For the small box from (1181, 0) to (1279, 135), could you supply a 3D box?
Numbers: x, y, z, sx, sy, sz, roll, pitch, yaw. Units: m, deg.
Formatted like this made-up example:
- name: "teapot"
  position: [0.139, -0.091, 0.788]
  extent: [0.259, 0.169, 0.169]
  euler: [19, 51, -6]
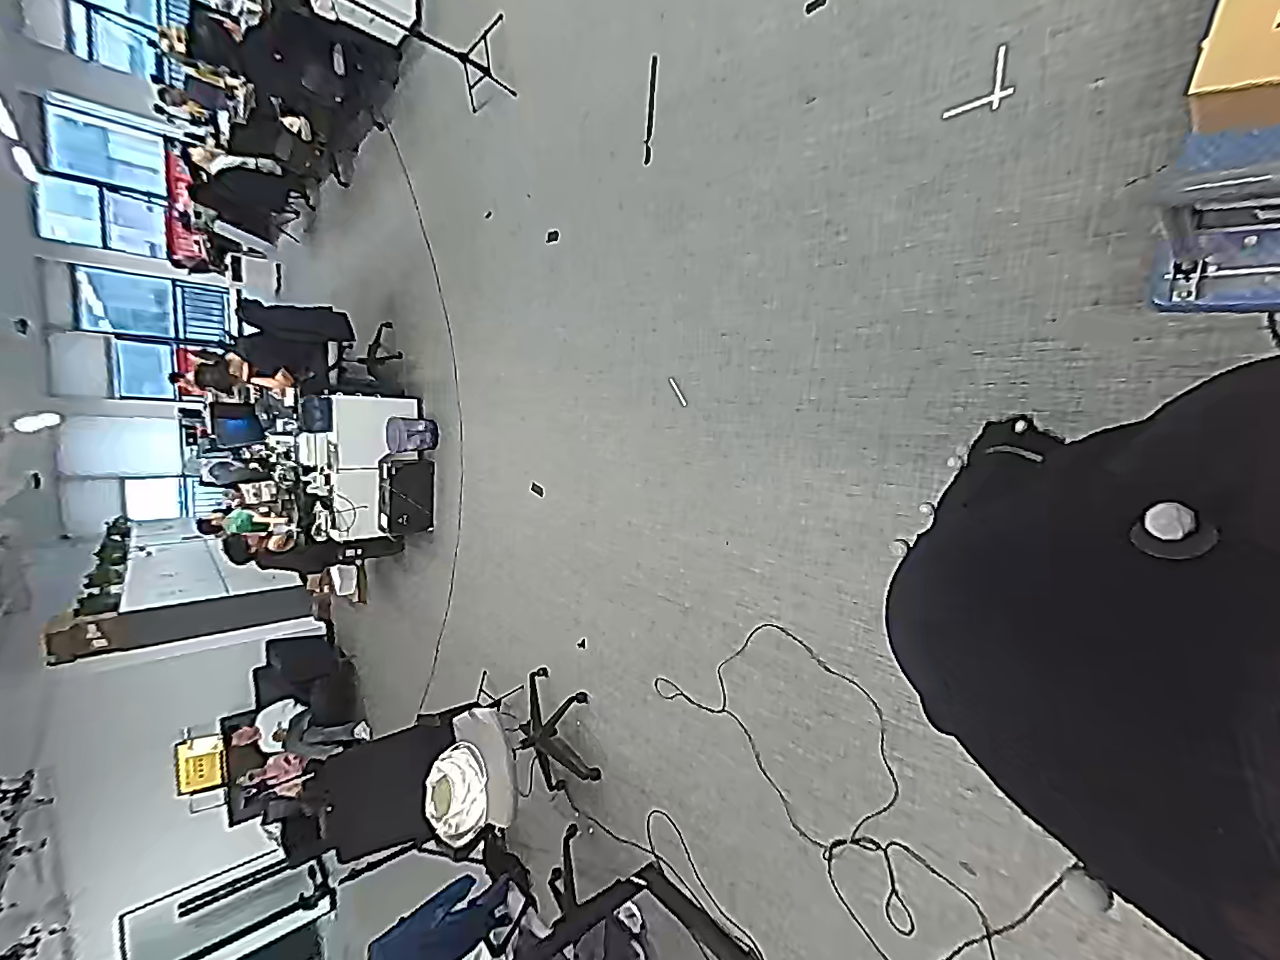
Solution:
- name: "small box"
  position: [0.966, -0.649, 0.814]
  extent: [0.179, 0.176, 0.168]
  euler: [23, 108, 43]
